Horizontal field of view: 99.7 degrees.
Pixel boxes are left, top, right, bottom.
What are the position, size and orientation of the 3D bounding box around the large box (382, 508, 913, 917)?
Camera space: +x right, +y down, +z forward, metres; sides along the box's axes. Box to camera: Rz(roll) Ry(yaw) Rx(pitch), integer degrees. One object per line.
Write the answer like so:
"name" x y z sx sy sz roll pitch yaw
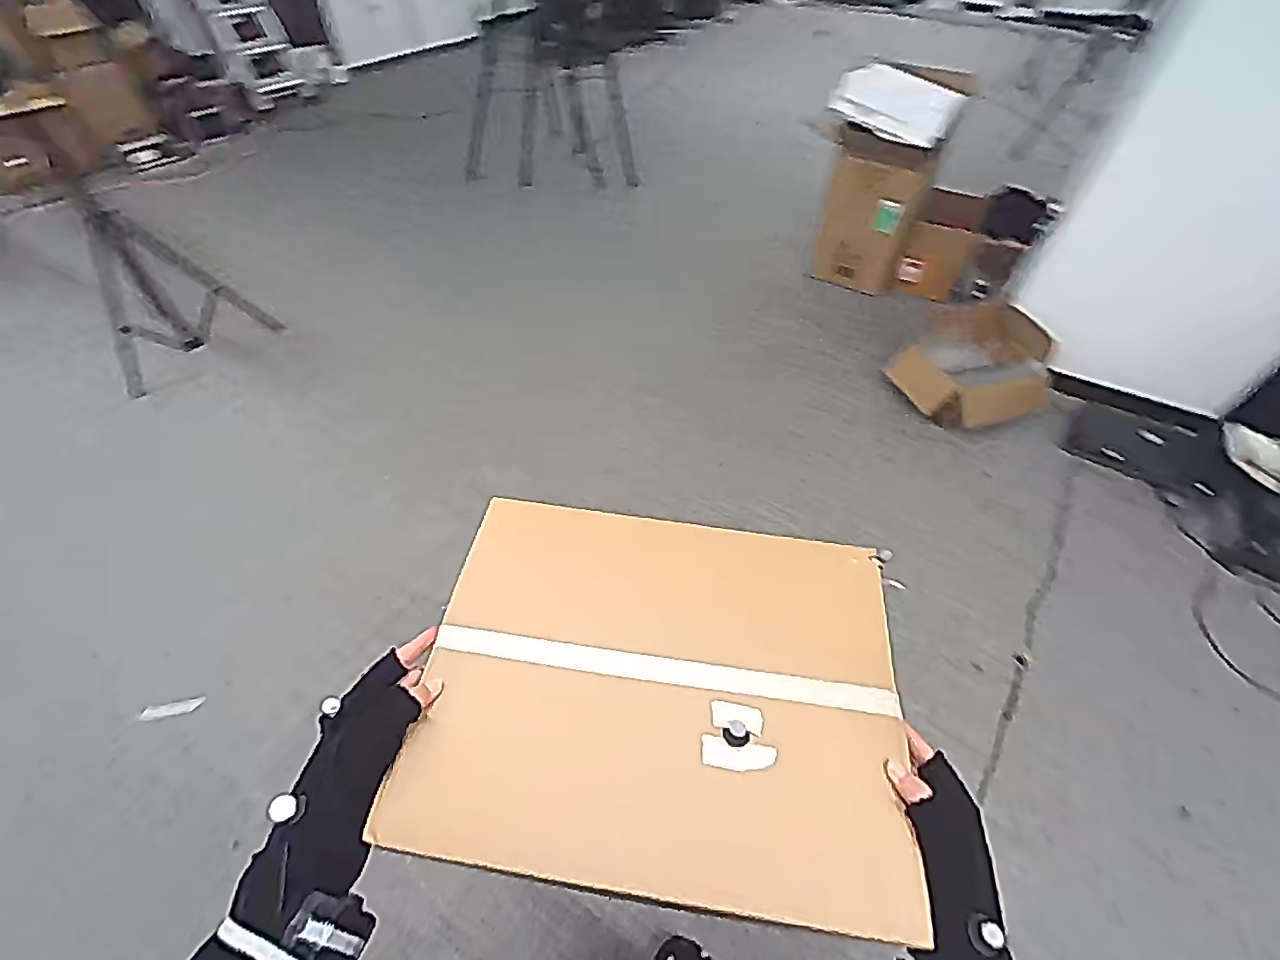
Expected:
"large box" 0.012 0.262 0.603 0.408 0.320 0.320 7 52 4
